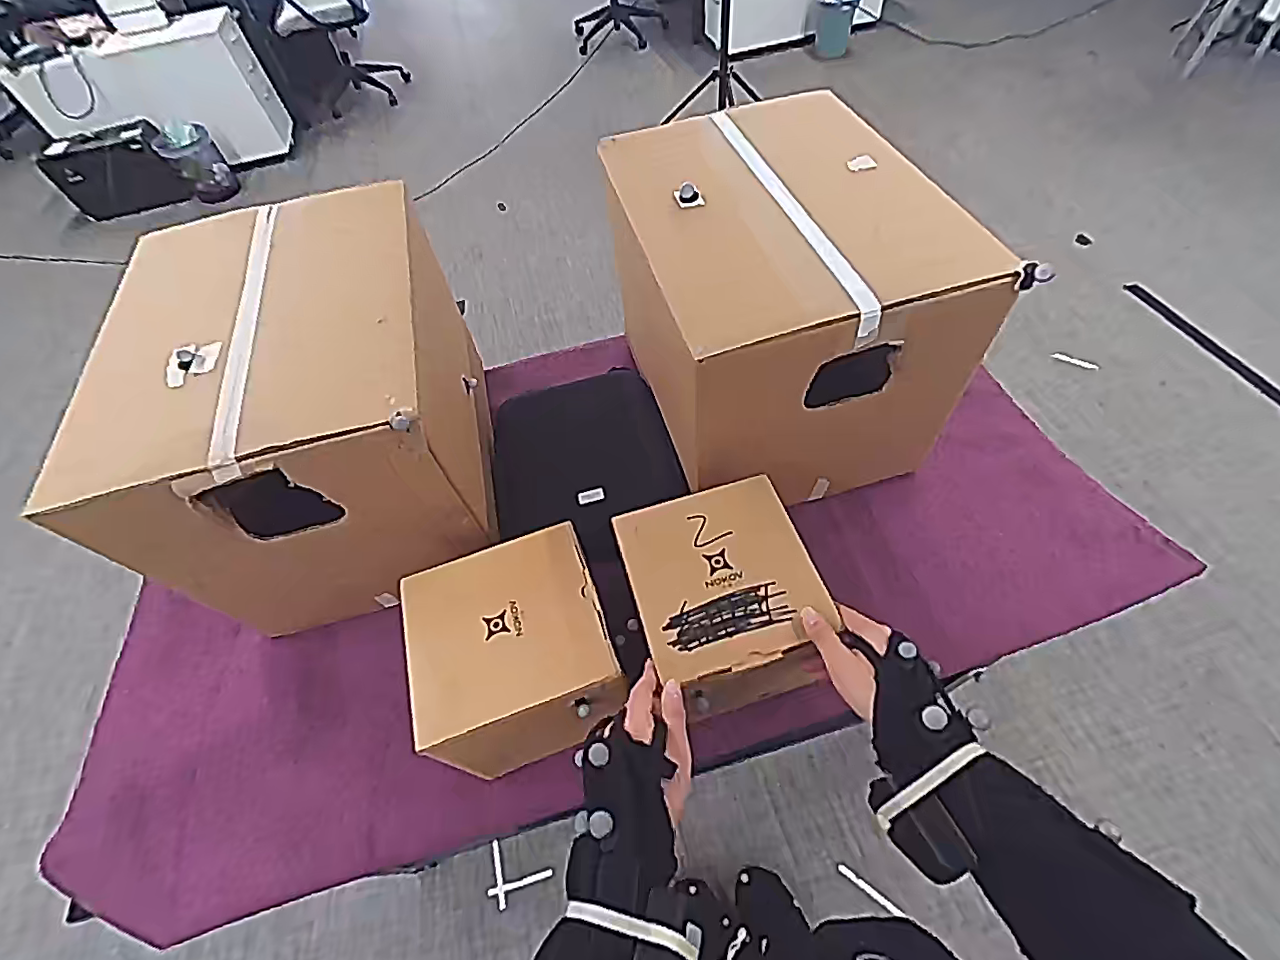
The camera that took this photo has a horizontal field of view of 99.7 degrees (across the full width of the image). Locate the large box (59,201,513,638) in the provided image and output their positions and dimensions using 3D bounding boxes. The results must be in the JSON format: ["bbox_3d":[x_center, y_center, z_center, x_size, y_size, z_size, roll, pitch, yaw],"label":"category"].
[{"bbox_3d":[-0.376,-0.072,0.682,0.320,0.320,0.408,-16,58,-5],"label":"large box"}]
